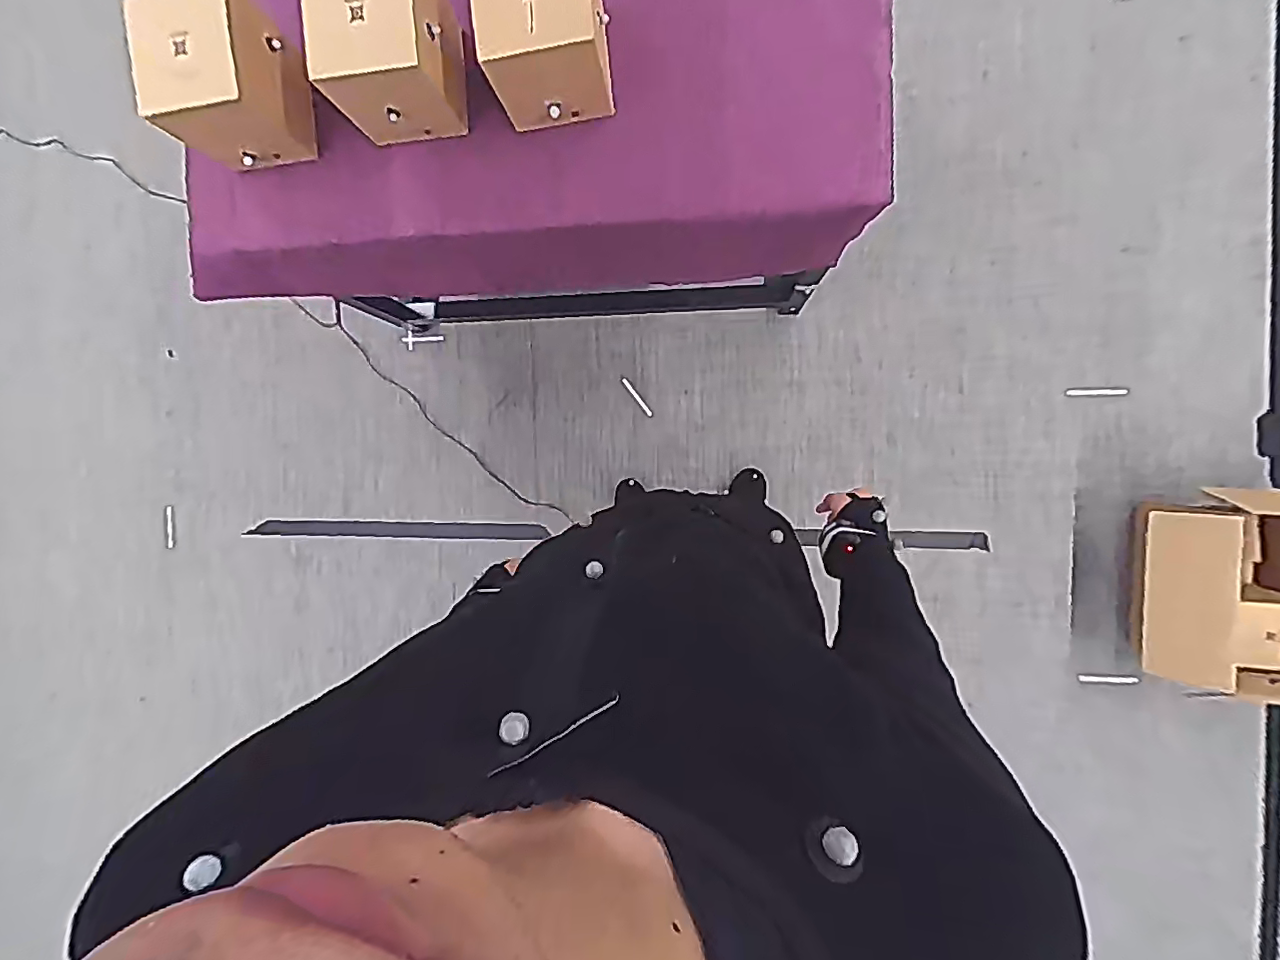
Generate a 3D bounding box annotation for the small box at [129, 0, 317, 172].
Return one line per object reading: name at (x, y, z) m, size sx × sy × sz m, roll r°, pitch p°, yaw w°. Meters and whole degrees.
small box at (-0.652, -0.631, 0.863) m, size 0.168 × 0.176 × 0.179 m, roll -5°, pitch 92°, yaw 7°

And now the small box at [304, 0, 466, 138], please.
small box at (-0.381, -0.658, 0.832) m, size 0.168 × 0.176 × 0.179 m, roll -3°, pitch 92°, yaw 6°

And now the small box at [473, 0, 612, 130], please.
small box at (-0.140, -0.669, 0.806) m, size 0.168 × 0.176 × 0.179 m, roll -6°, pitch 93°, yaw 7°
